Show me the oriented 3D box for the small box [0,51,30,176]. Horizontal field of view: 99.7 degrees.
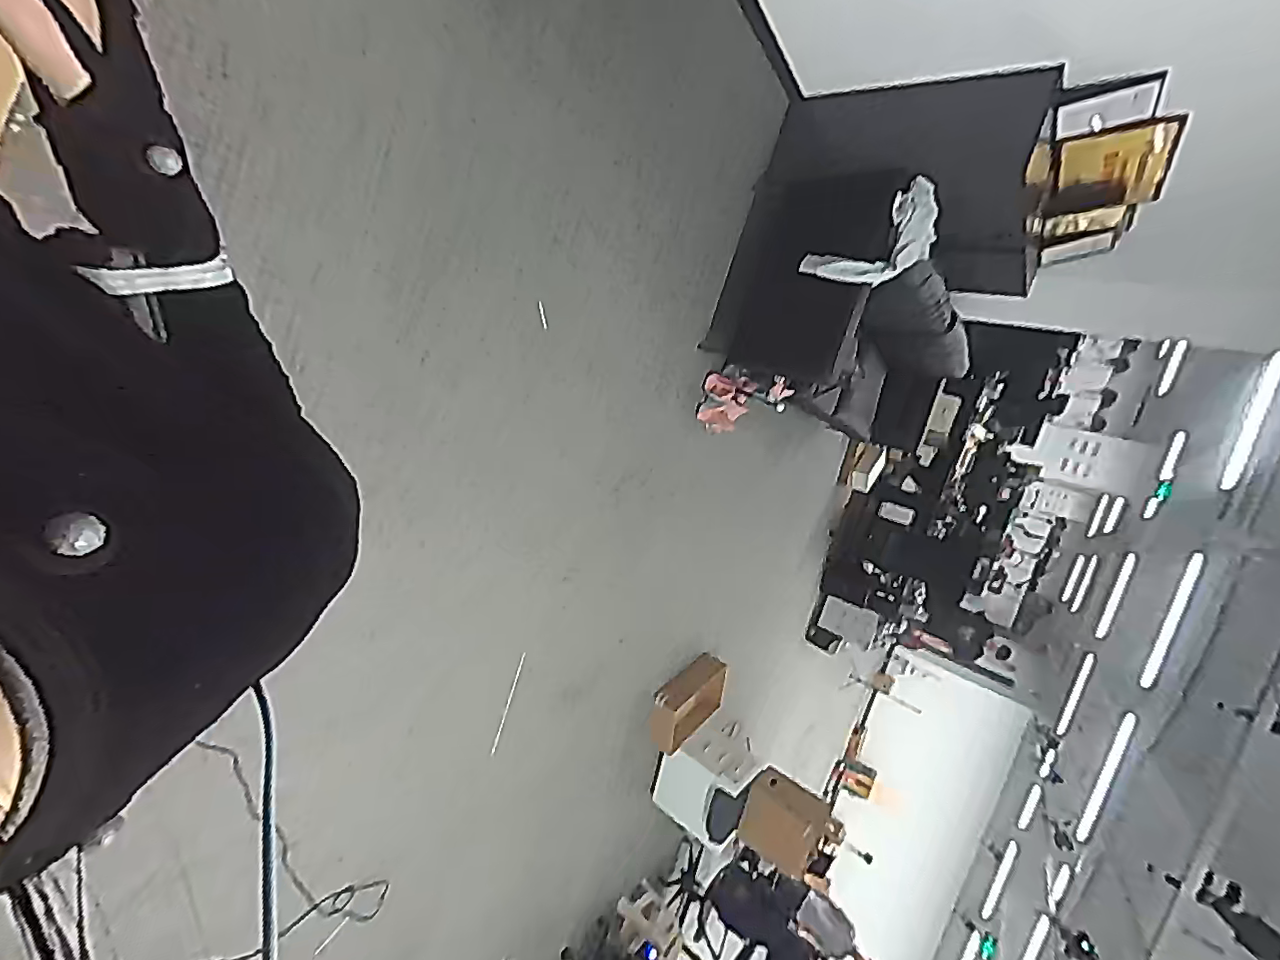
[{"bbox_3d":[-1.063,-0.585,0.807,0.168,0.176,0.179,14,98,-54],"label":"small box"}]
